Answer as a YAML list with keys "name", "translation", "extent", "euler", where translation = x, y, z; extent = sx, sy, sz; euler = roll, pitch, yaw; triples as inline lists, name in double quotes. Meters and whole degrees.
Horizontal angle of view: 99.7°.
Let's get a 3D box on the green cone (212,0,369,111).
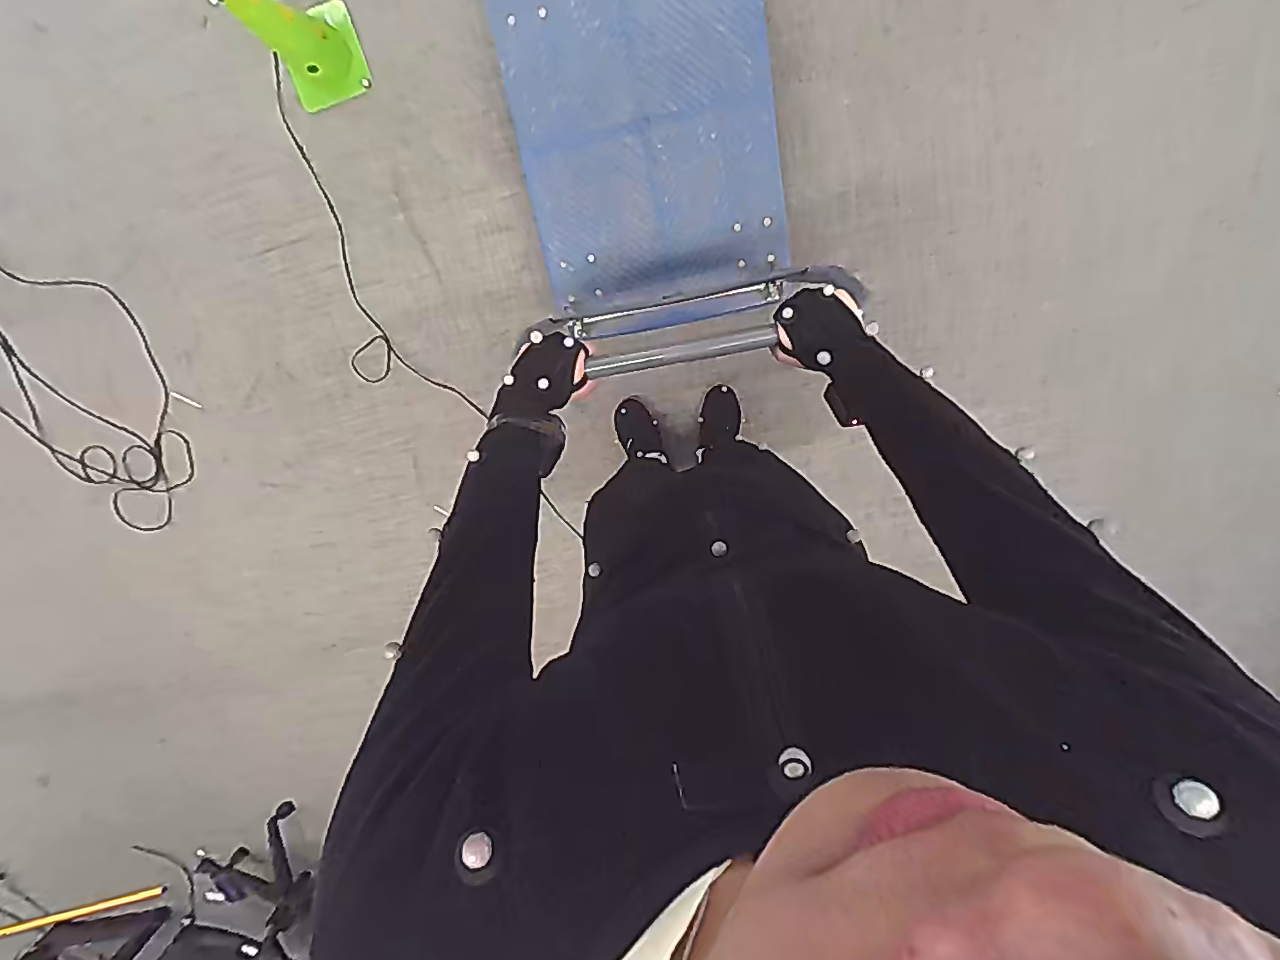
- name: "green cone"
  translation: [-0.809, -1.007, 1.186]
  extent: [0.202, 0.368, 0.200]
  euler: [-14, 106, 10]
